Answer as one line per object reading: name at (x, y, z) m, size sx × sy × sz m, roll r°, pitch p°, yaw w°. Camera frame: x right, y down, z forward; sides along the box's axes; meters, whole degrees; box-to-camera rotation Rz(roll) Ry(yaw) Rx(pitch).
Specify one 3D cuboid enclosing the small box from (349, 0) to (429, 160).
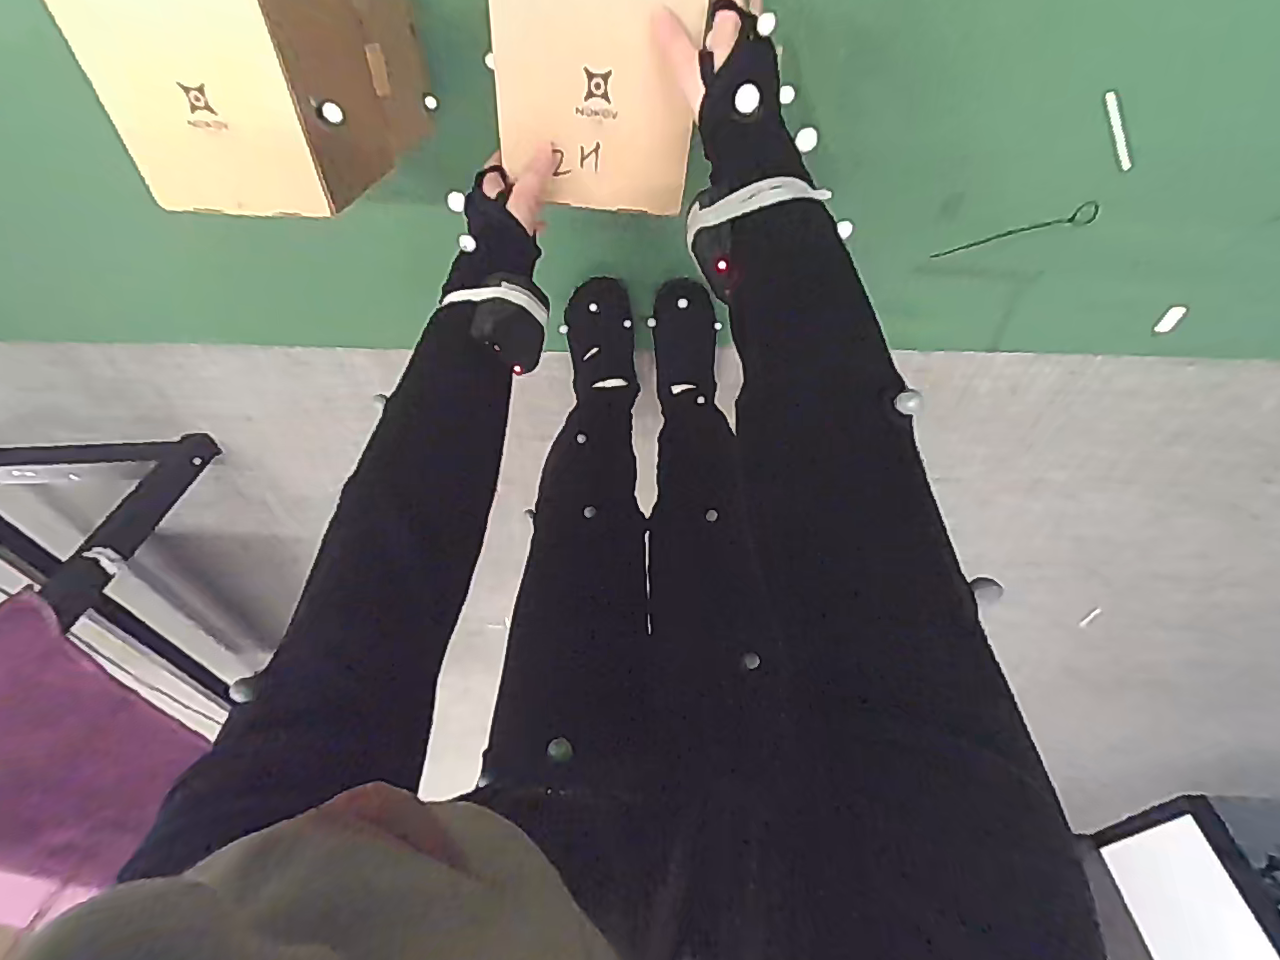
small box at (-0.363, -0.492, 0.629) m, size 0.179 × 0.176 × 0.168 m, roll 3°, pitch 135°, yaw 0°

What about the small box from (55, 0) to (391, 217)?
small box at (-0.366, -0.375, 0.515) m, size 0.168 × 0.176 × 0.179 m, roll 3°, pitch 135°, yaw 0°

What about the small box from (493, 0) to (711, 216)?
small box at (-0.034, -0.373, 0.502) m, size 0.168 × 0.176 × 0.179 m, roll 5°, pitch 136°, yaw -3°
